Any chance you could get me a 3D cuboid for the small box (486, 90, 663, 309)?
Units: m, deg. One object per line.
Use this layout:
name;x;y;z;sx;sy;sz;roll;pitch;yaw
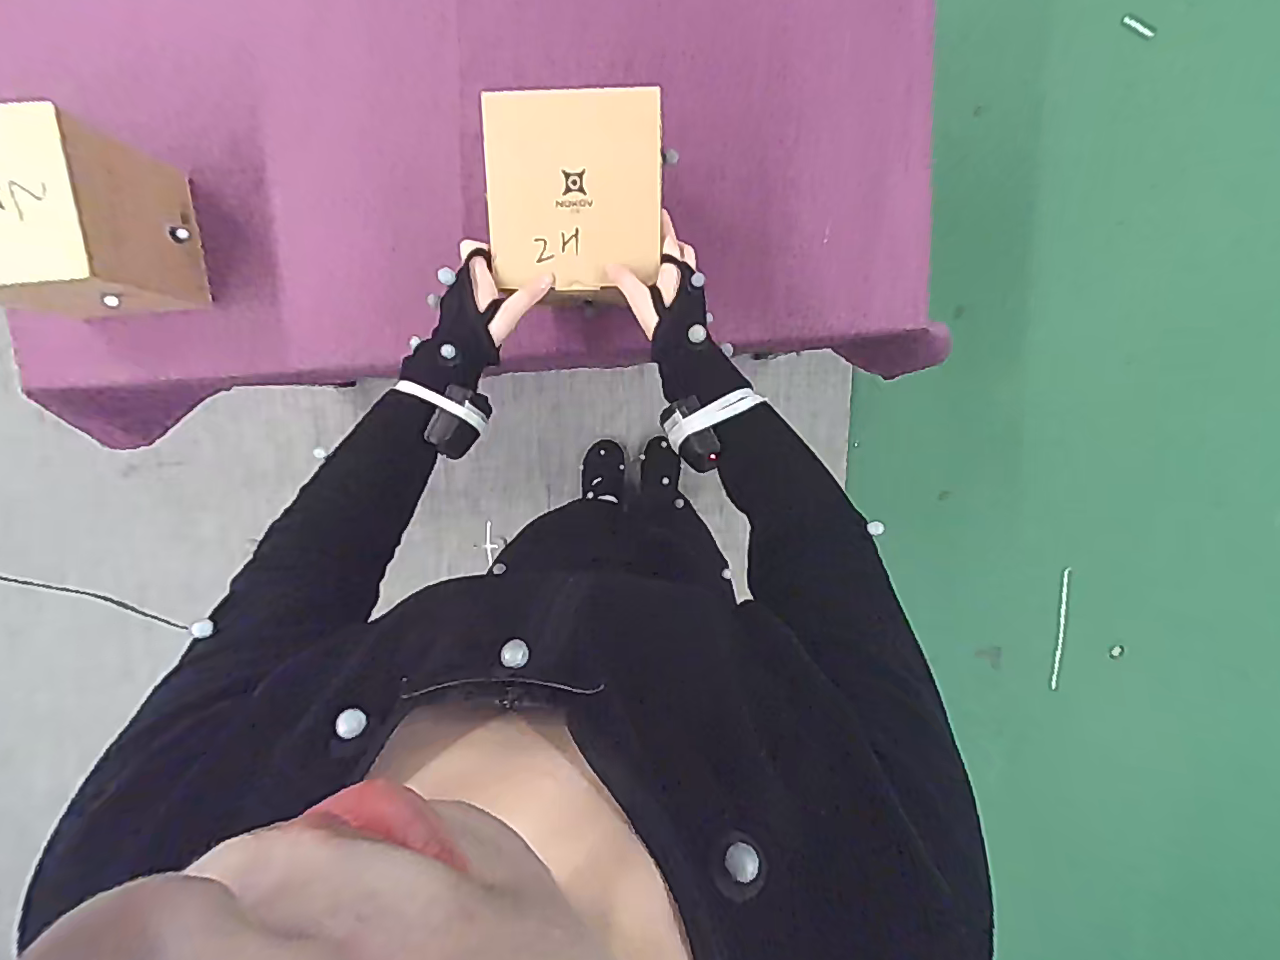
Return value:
small box;-0.060;-0.287;0.590;0.168;0.176;0.179;0;103;2
